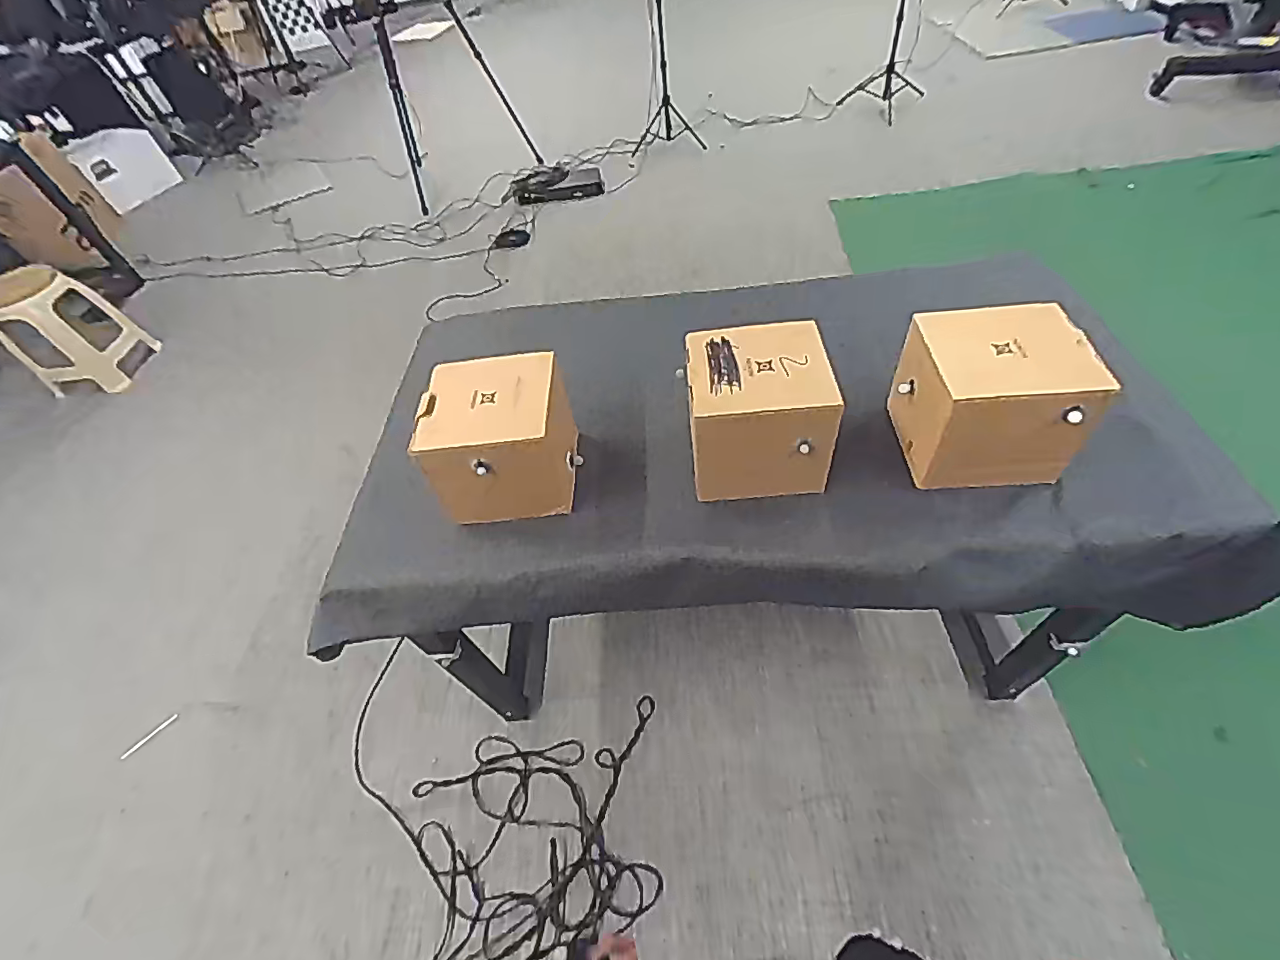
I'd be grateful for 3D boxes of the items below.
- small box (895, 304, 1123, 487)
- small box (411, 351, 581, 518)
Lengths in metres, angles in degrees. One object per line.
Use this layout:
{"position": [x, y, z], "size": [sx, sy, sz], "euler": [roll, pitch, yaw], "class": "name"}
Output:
{"position": [0.448, -0.103, 0.701], "size": [0.179, 0.176, 0.168], "euler": [-3, 51, 7], "class": "small box"}
{"position": [-0.189, -0.059, 0.769], "size": [0.179, 0.176, 0.168], "euler": [-5, 52, 4], "class": "small box"}
